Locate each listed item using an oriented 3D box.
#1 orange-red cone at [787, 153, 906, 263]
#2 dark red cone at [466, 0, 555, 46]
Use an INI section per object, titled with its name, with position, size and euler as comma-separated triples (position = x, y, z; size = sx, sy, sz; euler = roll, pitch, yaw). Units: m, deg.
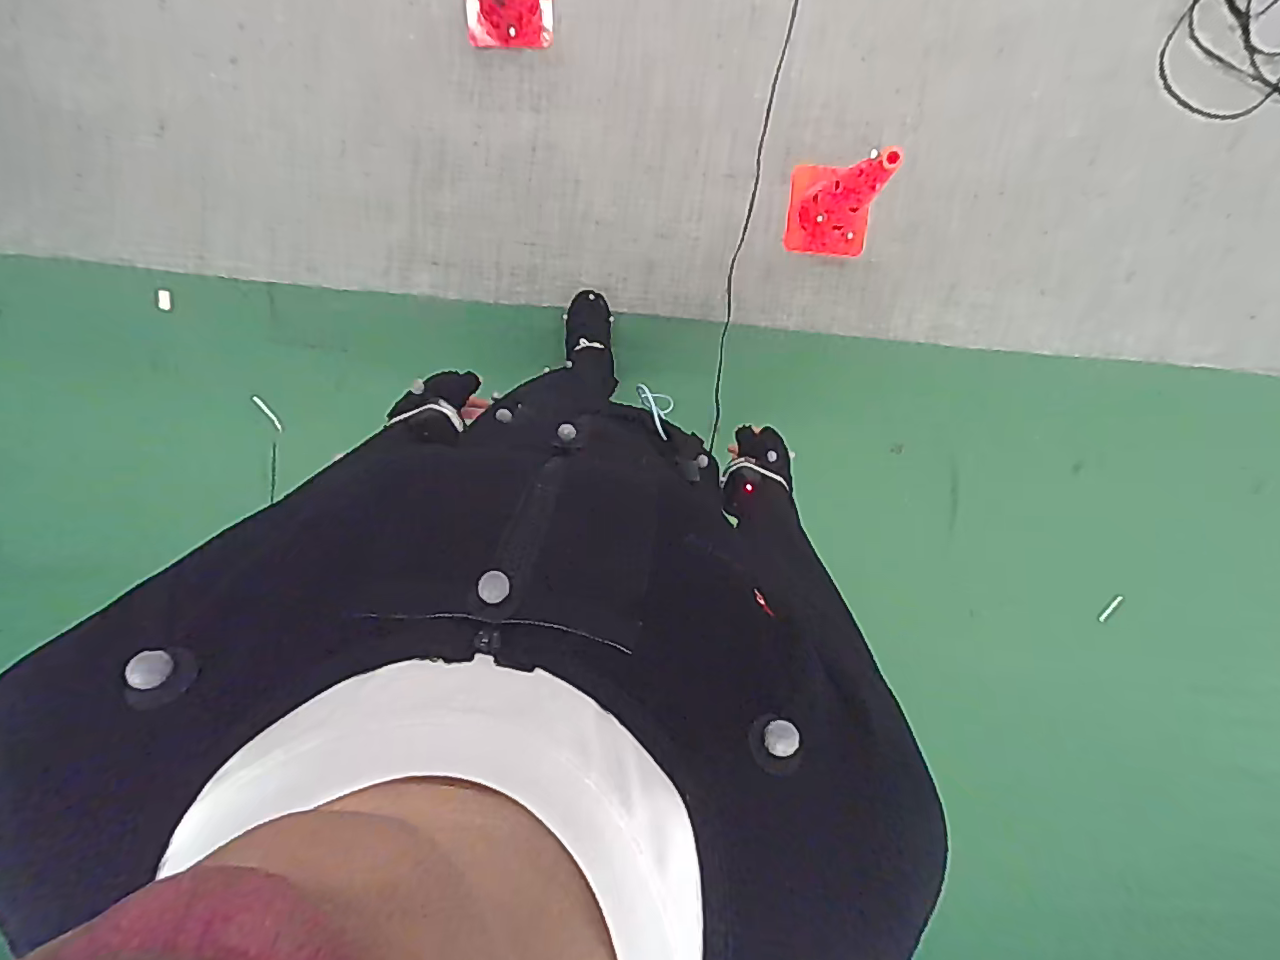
[orange-red cone]
position = 0.471, -0.620, 1.170
size = 0.198, 0.360, 0.199
euler = 6, 100, -1
[dark red cone]
position = -0.296, -1.066, 1.067
size = 0.202, 0.394, 0.201
euler = 0, 102, 1
